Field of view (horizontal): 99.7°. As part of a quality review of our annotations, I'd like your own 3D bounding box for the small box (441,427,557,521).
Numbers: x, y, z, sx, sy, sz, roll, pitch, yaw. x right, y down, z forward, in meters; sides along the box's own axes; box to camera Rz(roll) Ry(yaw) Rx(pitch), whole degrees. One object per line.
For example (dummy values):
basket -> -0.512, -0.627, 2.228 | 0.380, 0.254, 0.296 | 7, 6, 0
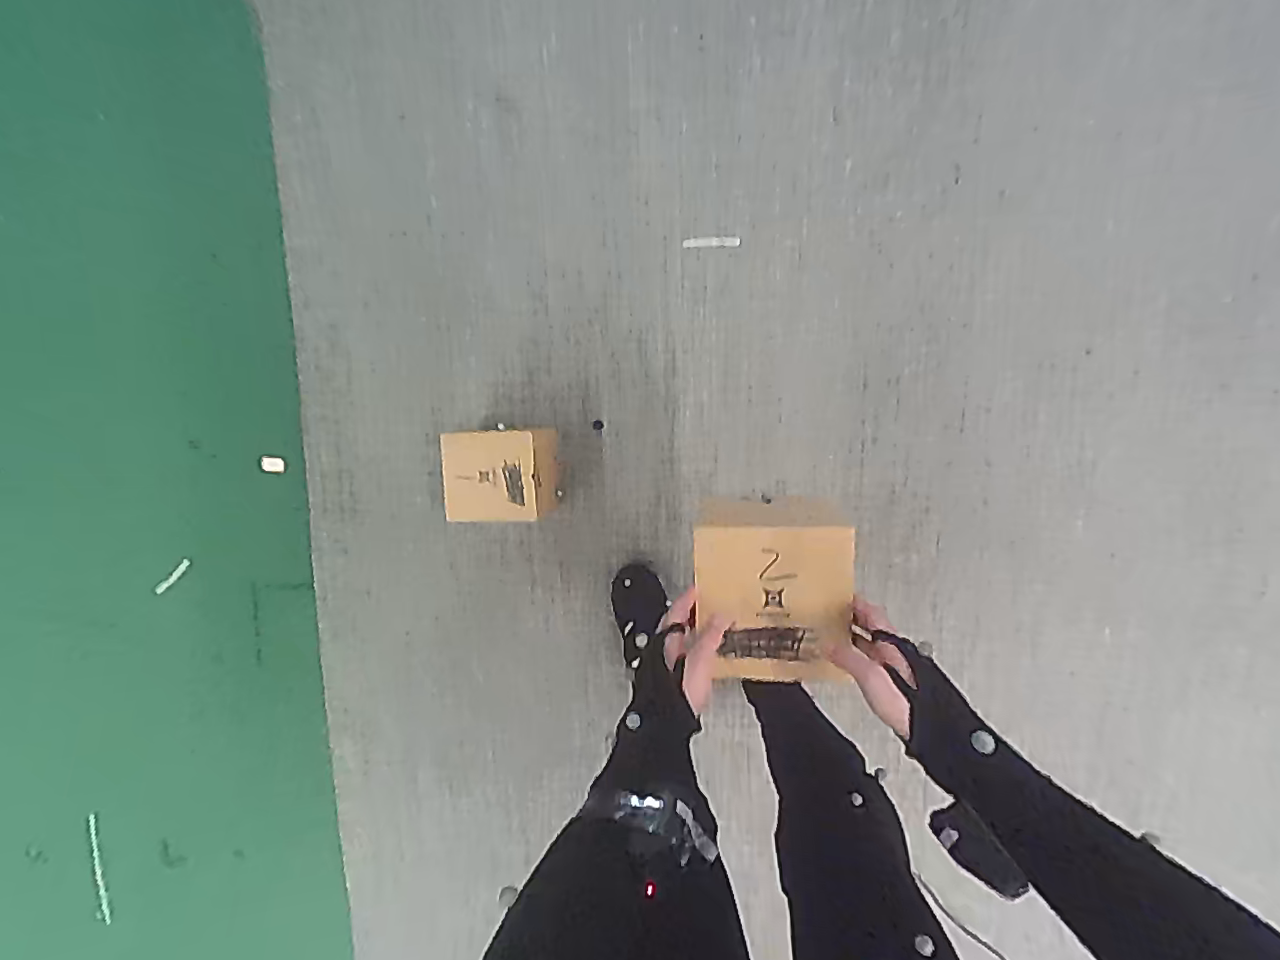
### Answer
small box -> -0.260, -0.017, 1.042 | 0.179, 0.176, 0.168 | 0, 96, 6
